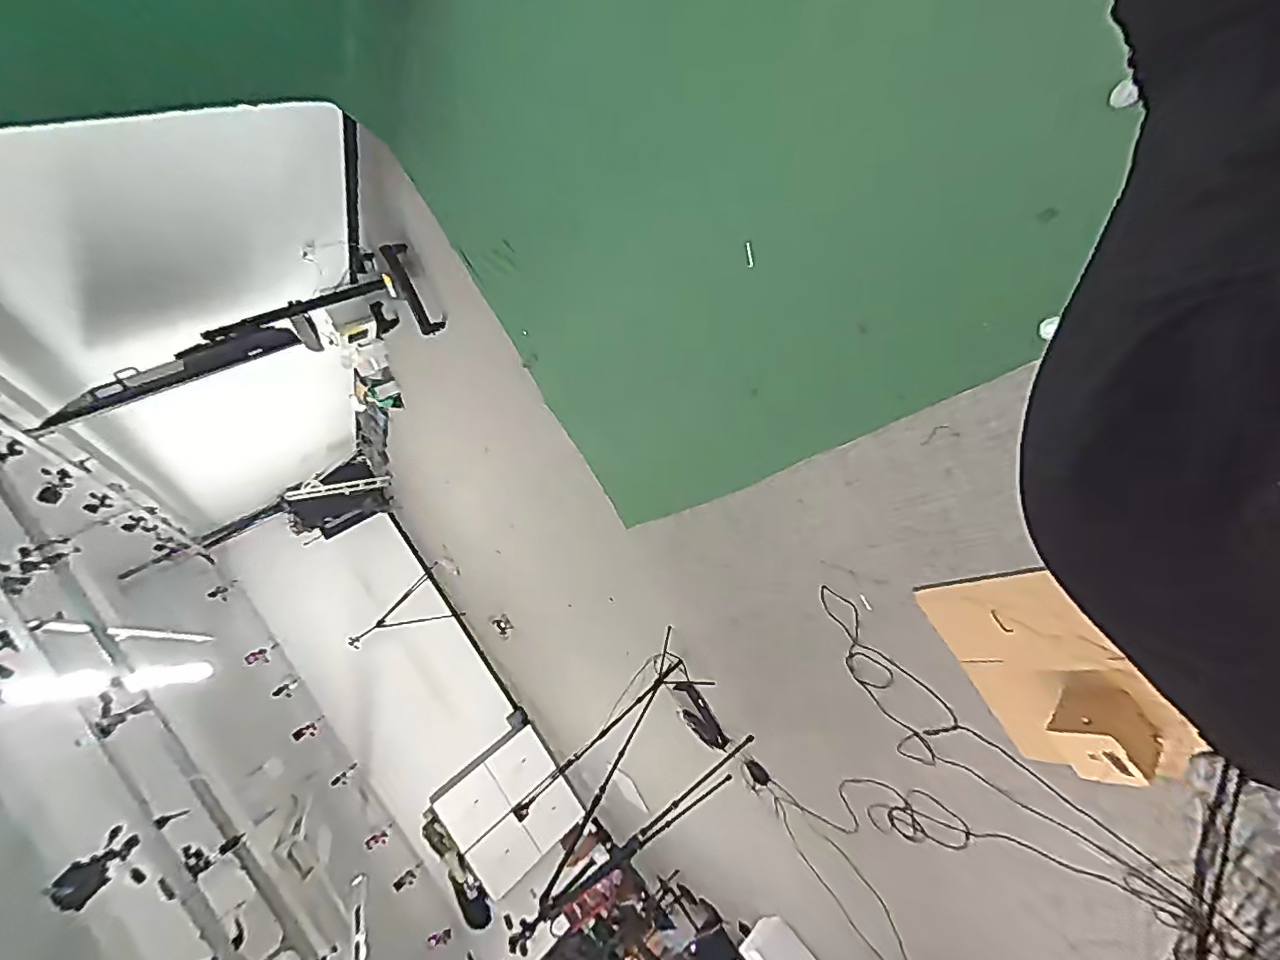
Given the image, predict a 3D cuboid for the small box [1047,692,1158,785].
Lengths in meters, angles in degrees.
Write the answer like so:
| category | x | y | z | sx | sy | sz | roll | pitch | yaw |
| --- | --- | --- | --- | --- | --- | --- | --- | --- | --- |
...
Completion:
| category | x | y | z | sx | sy | sz | roll | pitch | yaw |
| --- | --- | --- | --- | --- | --- | --- | --- | --- | --- |
| small box | 1.312 | 0.721 | 1.529 | 0.168 | 0.176 | 0.179 | 55 | 149 | 3 |
